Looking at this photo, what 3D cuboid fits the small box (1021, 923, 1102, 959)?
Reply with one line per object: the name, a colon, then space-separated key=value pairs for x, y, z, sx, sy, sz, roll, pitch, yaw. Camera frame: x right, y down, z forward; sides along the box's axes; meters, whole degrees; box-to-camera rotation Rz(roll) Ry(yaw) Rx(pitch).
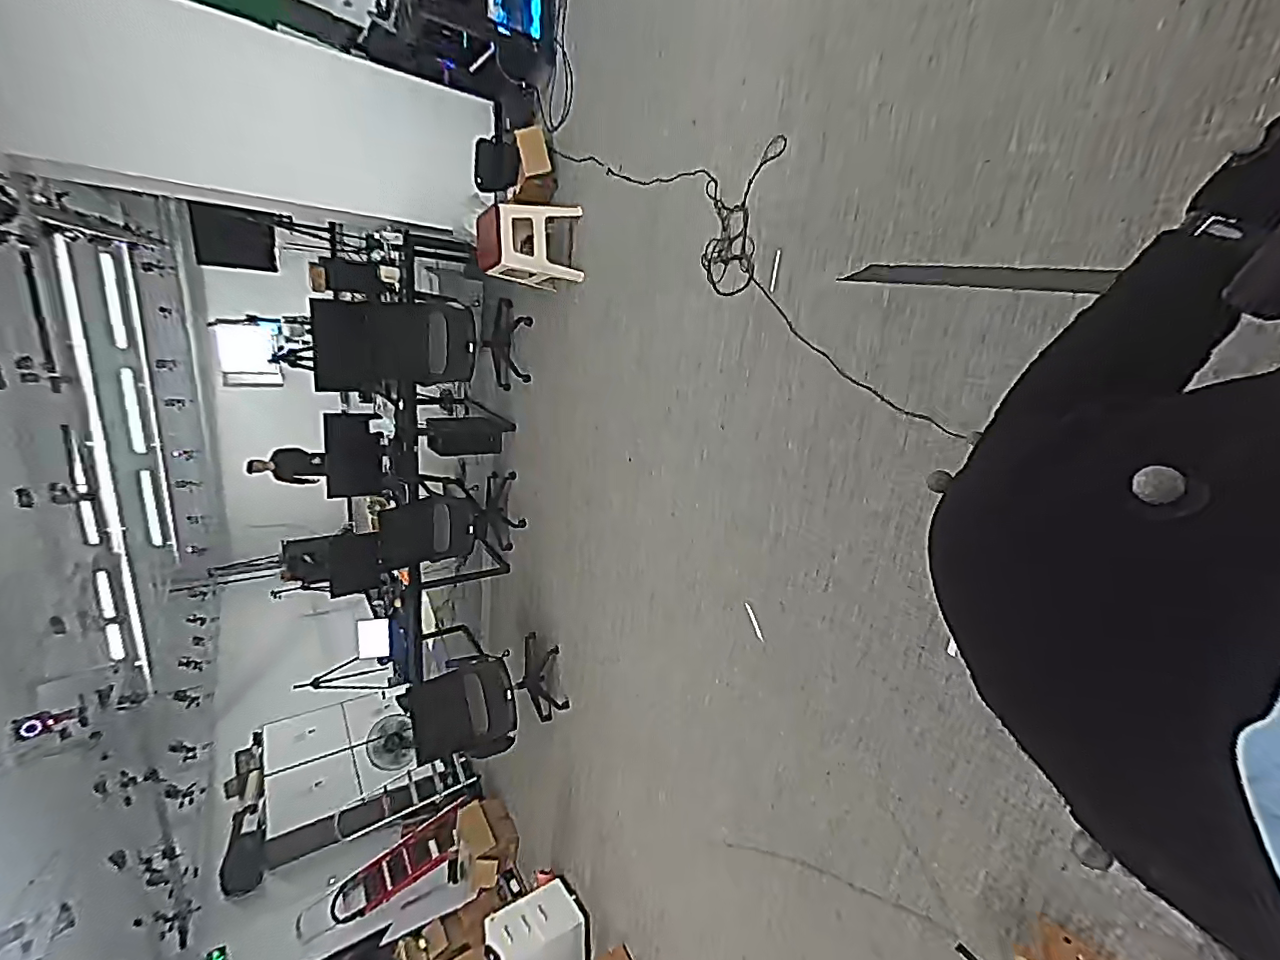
small box: x=1.023 y=1.235 z=1.295 sx=0.168 sy=0.176 sz=0.179 roll=21 pitch=112 yaw=52
